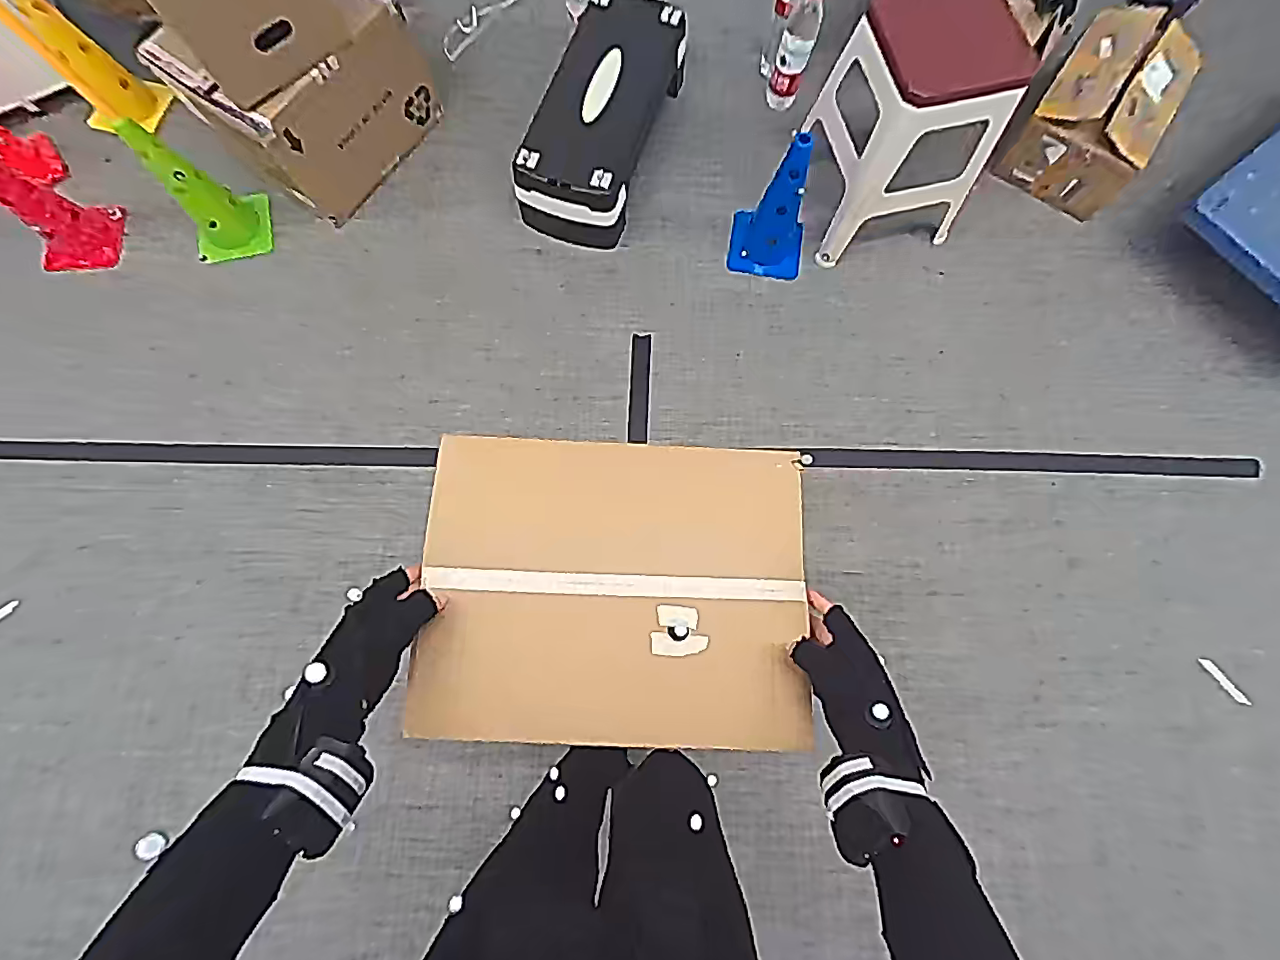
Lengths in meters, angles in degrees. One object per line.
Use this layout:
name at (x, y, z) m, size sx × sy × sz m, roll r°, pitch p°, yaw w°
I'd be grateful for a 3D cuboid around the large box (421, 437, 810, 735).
large box at (-0.028, 0.145, 0.727) m, size 0.408 × 0.320 × 0.320 m, roll 3°, pitch 76°, yaw -2°
